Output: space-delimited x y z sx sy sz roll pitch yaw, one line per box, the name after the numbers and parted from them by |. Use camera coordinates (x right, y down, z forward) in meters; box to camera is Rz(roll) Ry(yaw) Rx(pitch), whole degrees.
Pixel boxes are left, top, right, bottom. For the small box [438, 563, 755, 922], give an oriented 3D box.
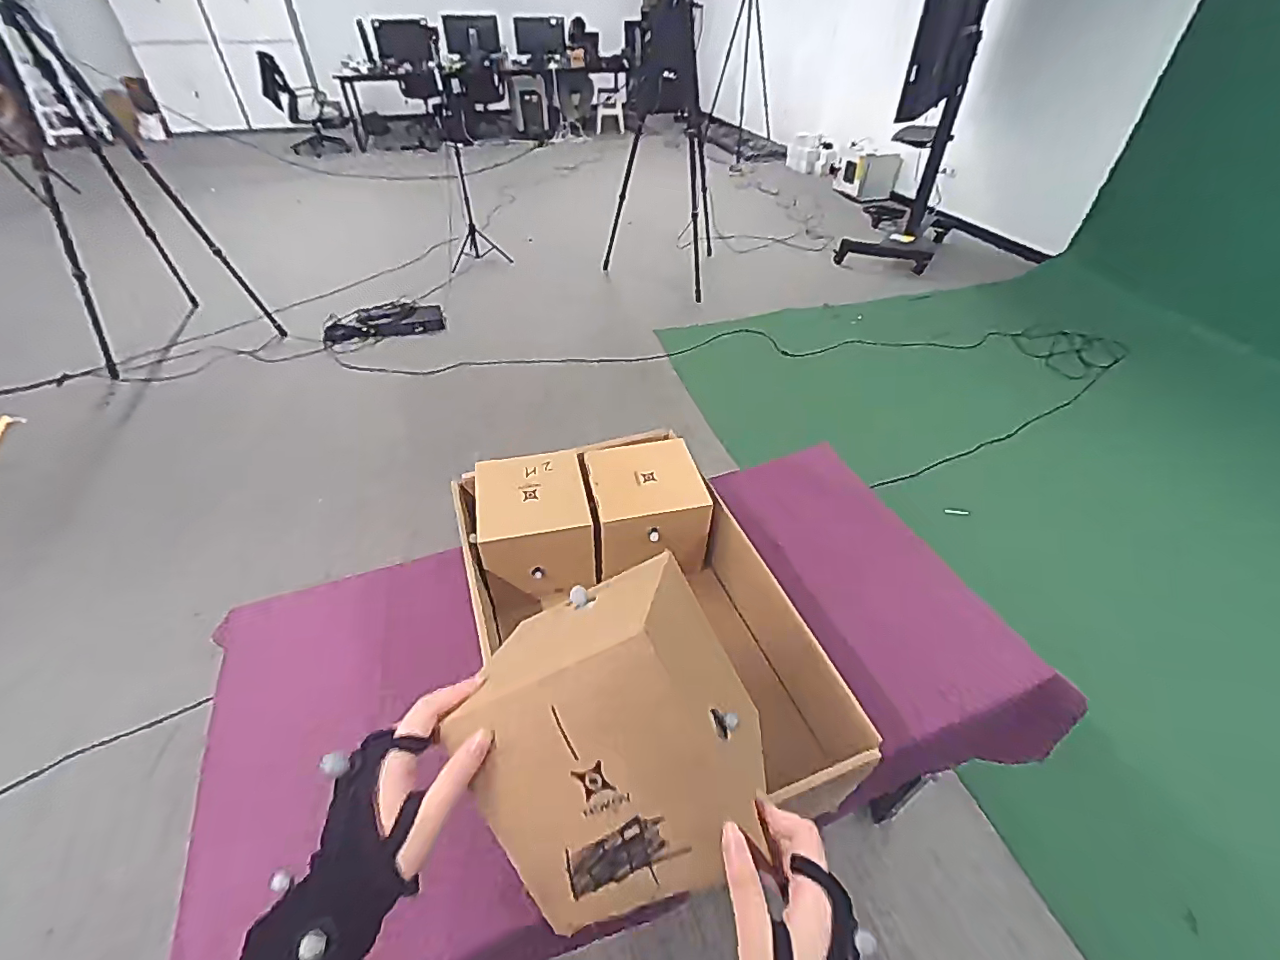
-0.019 0.194 0.443 0.168 0.179 0.176 -28 2 12 | small box
